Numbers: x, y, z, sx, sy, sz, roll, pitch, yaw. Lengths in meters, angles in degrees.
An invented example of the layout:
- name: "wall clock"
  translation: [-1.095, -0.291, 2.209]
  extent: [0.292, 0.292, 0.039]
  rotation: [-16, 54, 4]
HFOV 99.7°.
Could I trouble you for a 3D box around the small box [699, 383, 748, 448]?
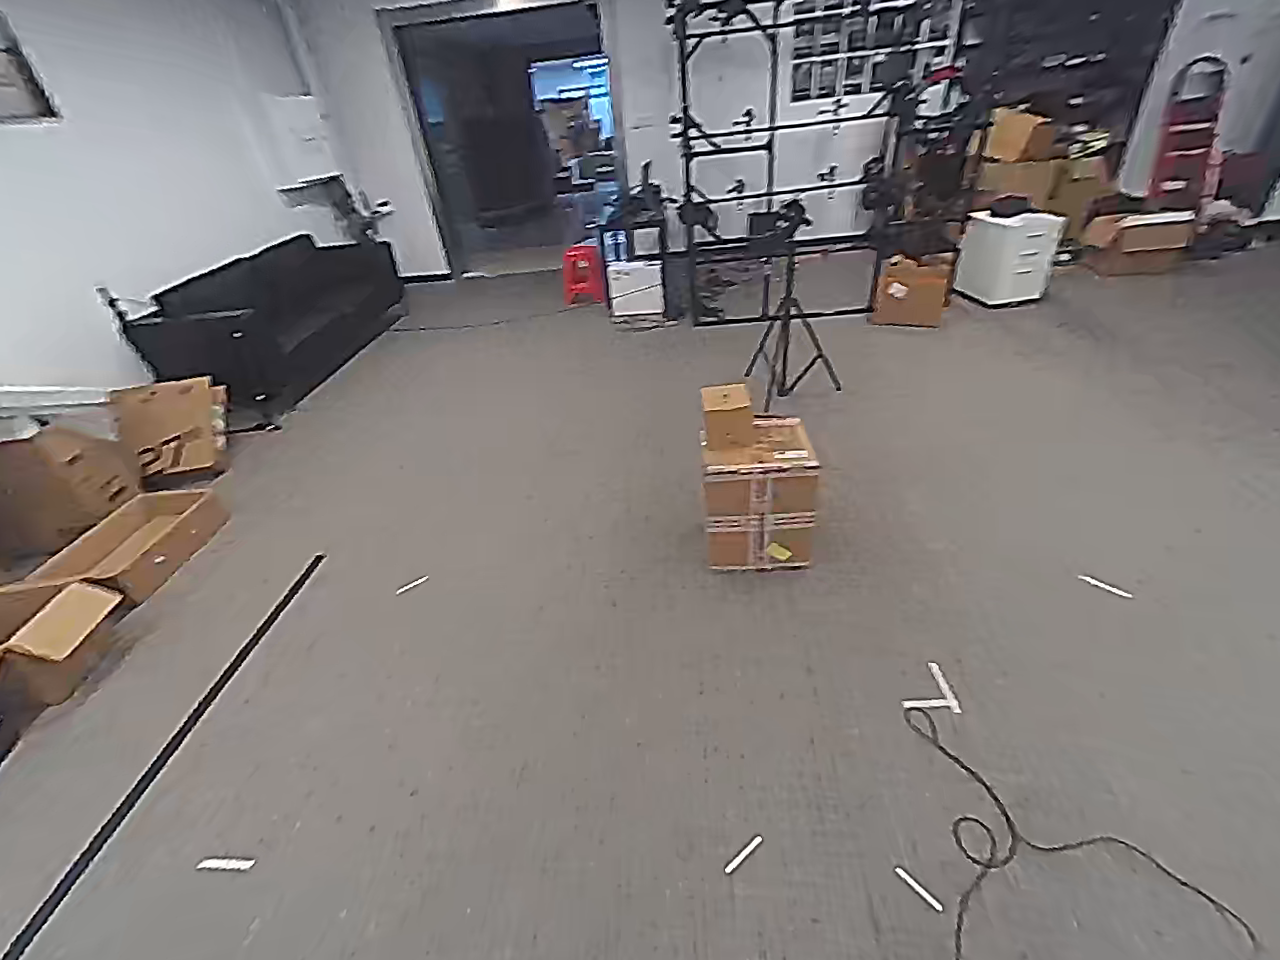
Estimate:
- name: "small box"
  translation: [0.306, -0.237, 1.994]
  extent: [0.168, 0.176, 0.179]
  rotation: [-6, 37, 5]
